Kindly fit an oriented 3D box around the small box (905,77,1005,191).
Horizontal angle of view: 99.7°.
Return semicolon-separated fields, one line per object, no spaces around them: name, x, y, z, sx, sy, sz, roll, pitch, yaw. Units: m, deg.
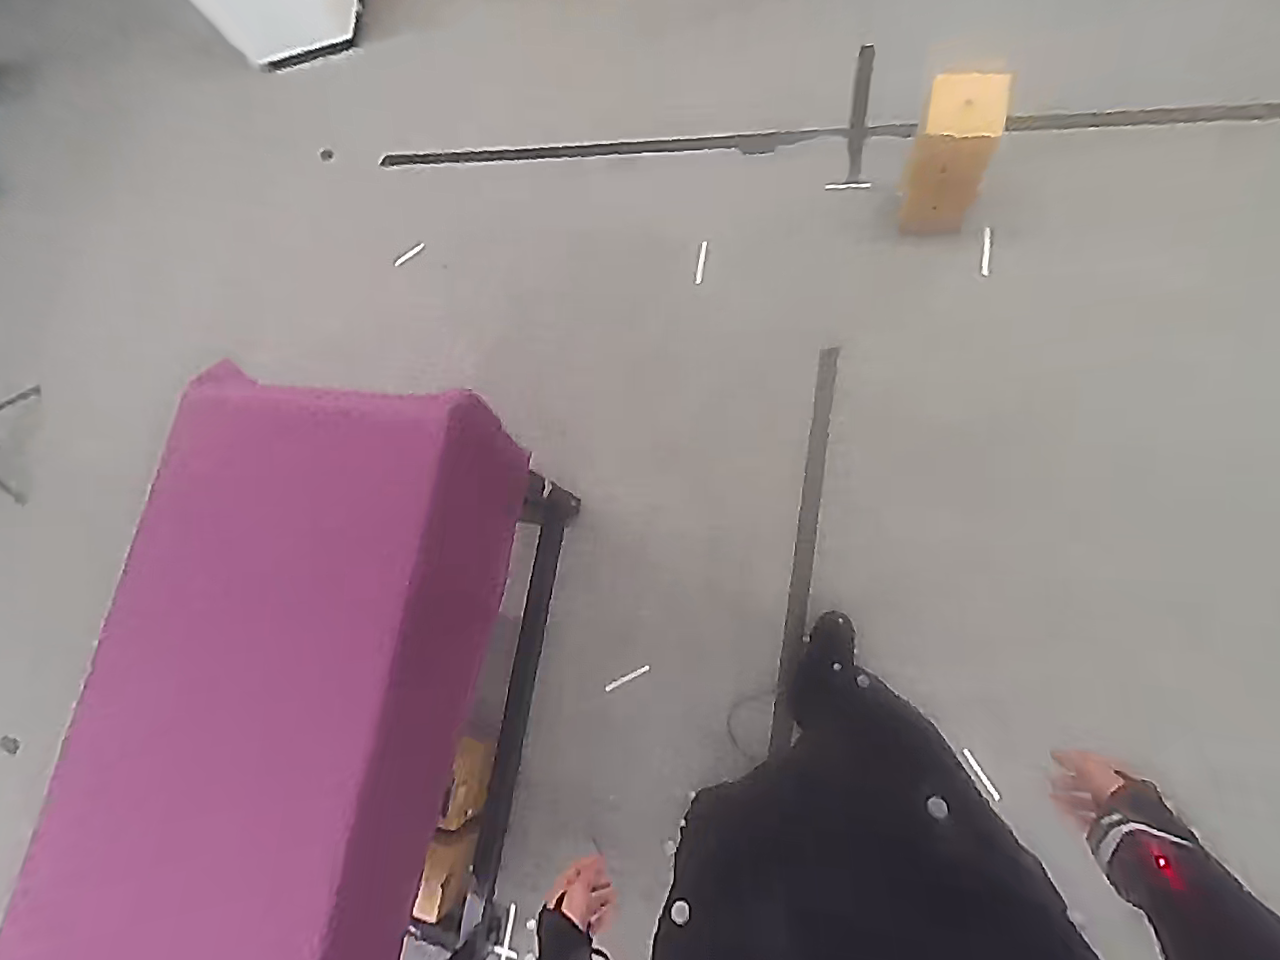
small box;0.776;-0.859;1.348;0.168;0.176;0.179;10;80;15

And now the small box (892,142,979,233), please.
small box;0.815;-0.810;1.499;0.179;0.176;0.168;5;78;15
